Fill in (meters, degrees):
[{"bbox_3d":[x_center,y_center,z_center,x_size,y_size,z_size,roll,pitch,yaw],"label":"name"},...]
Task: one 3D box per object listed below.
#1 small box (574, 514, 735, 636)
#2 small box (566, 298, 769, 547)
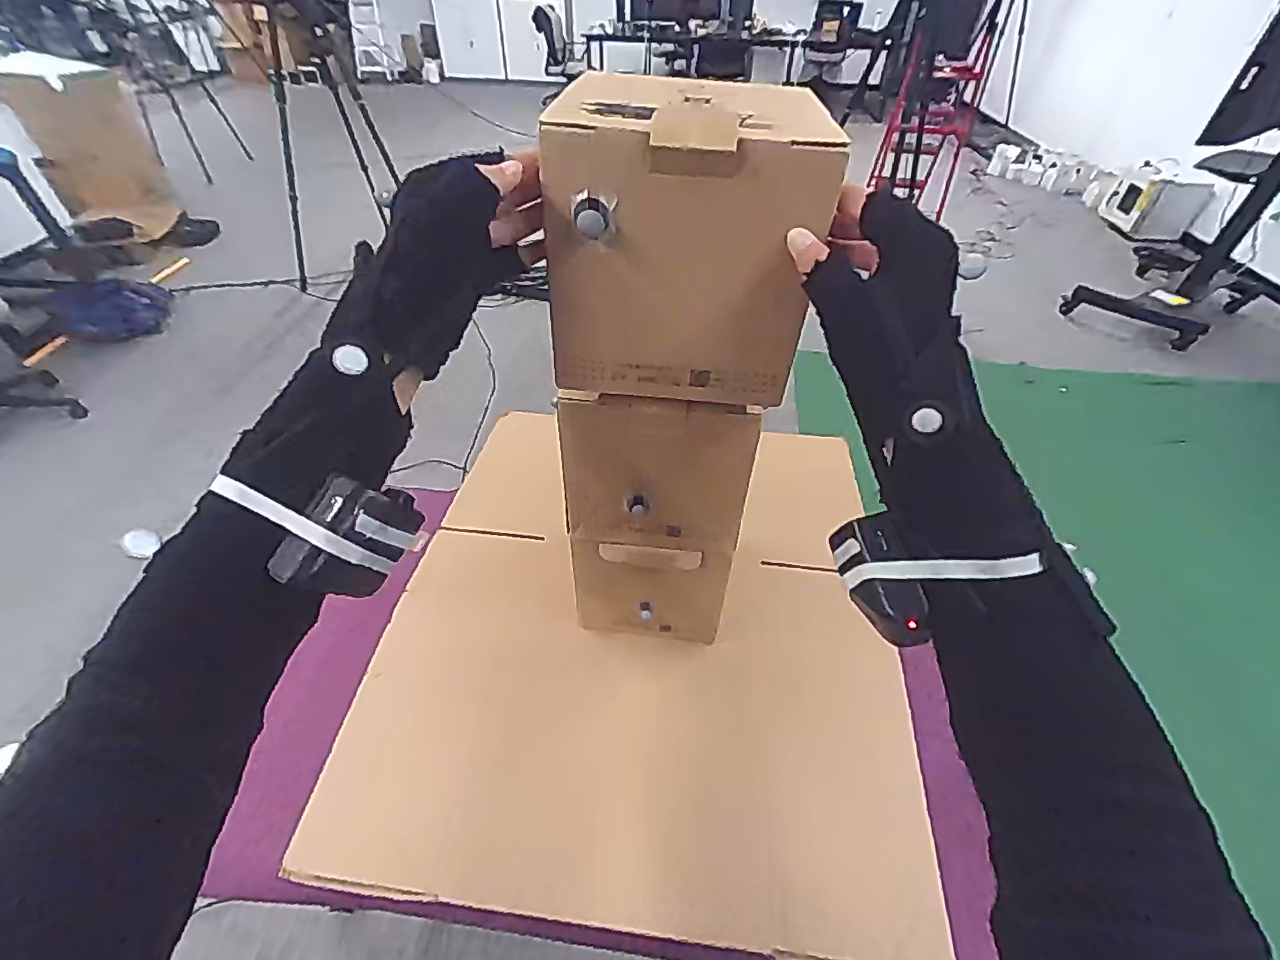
[{"bbox_3d":[0.021,0.059,0.652,0.168,0.176,0.179,6,44,5],"label":"small box"},{"bbox_3d":[0.026,-0.059,0.540,0.168,0.176,0.179,5,44,3],"label":"small box"}]
